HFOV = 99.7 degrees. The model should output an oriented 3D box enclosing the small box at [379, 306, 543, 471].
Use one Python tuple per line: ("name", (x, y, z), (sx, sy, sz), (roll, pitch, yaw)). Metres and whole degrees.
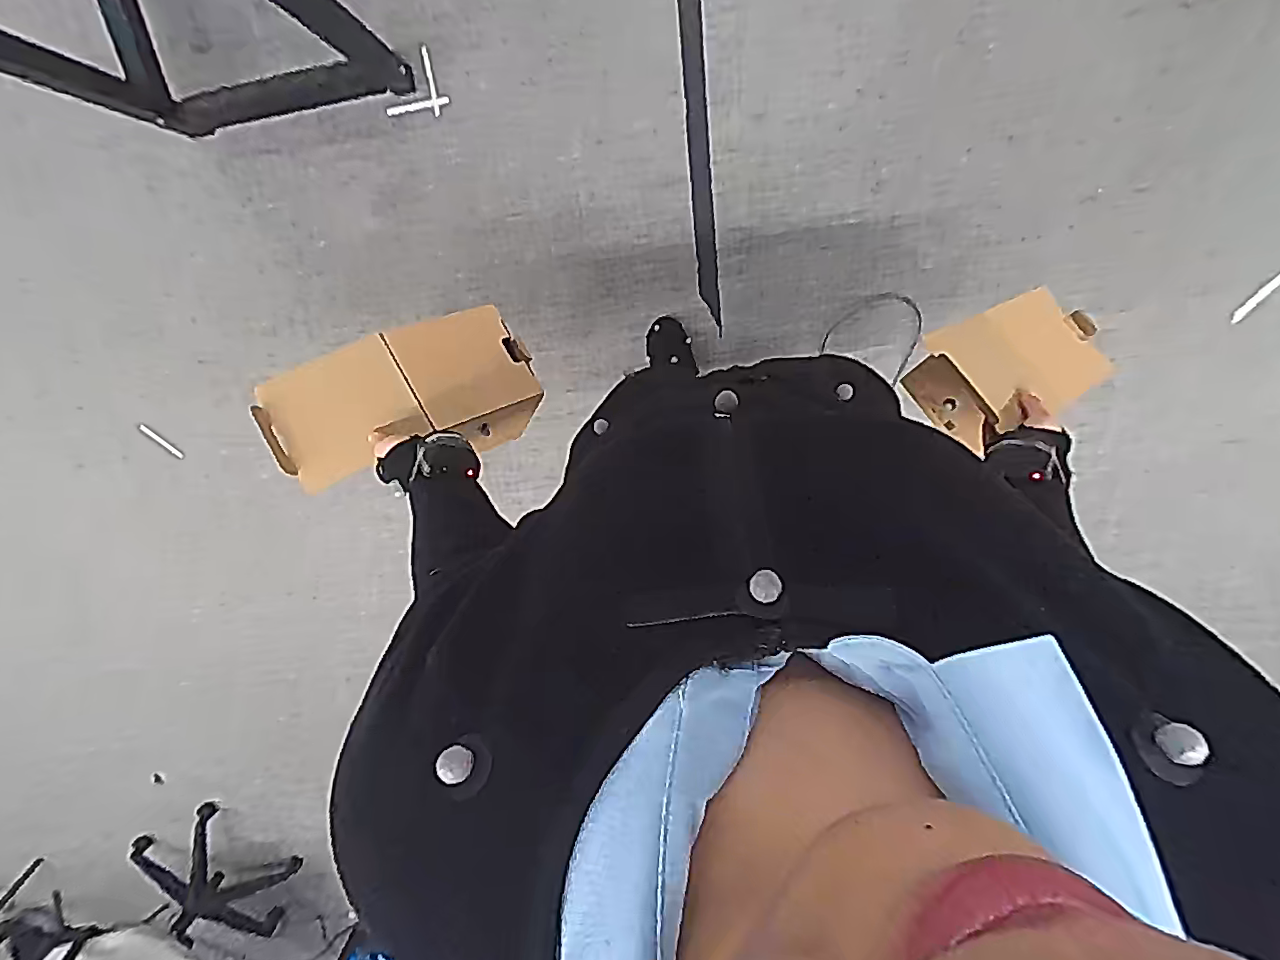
("small box", (-0.279, -0.135, 0.832), (0.179, 0.176, 0.168), (-27, 84, -32))
